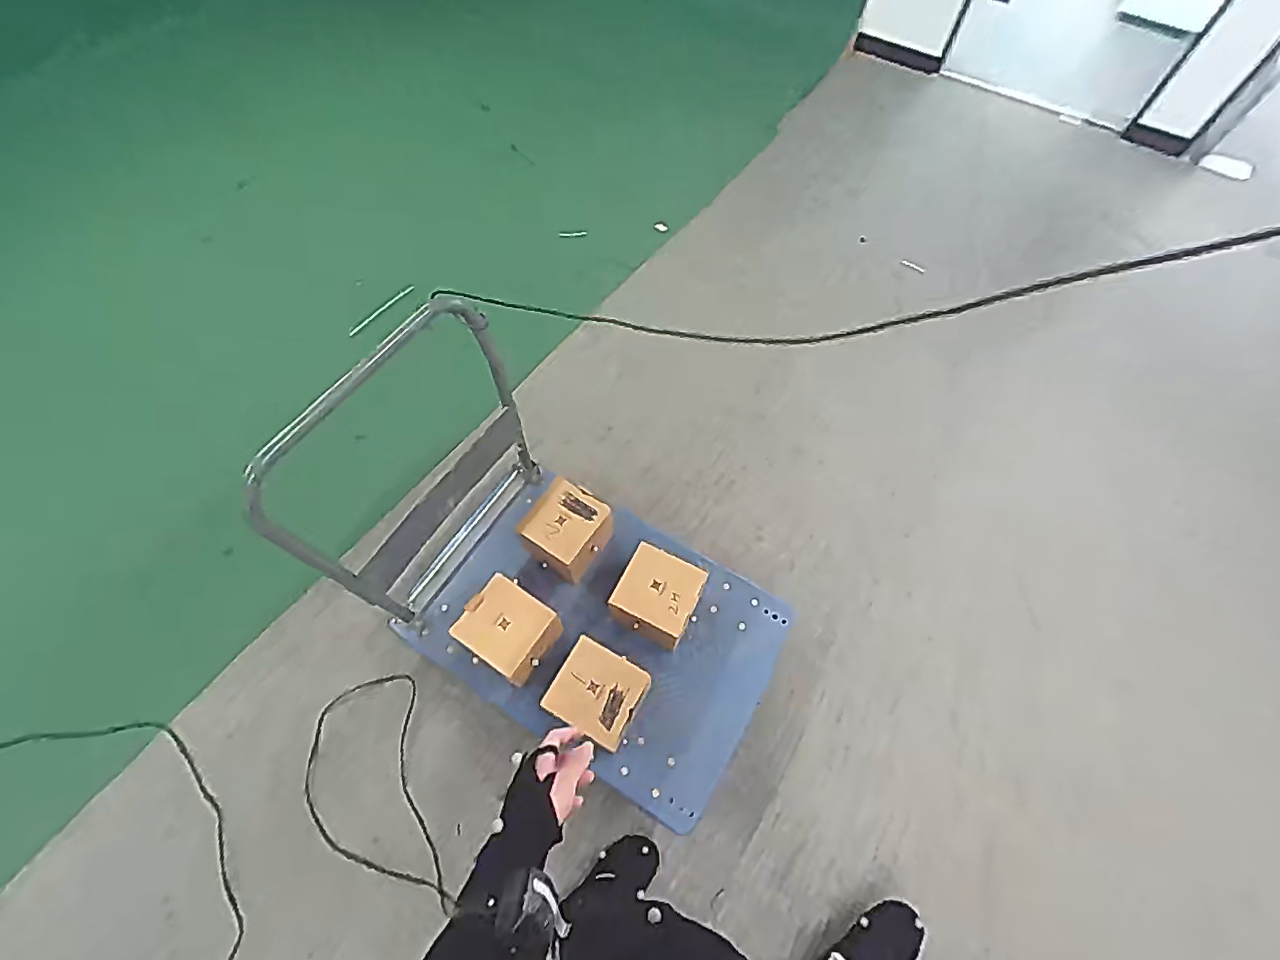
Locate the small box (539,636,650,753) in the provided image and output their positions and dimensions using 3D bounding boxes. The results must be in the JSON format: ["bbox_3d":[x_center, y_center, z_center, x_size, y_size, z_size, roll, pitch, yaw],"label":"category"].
[{"bbox_3d":[-0.092,0.470,1.179,0.179,0.176,0.168,28,65,14],"label":"small box"}]

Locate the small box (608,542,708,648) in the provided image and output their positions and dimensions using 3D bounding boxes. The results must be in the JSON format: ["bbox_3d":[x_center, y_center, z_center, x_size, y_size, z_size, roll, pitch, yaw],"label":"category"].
[{"bbox_3d":[0.042,0.279,1.281,0.179,0.176,0.168,26,65,12],"label":"small box"}]

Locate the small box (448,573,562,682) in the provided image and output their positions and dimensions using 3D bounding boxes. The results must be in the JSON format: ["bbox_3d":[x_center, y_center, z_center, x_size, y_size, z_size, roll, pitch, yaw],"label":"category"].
[{"bbox_3d":[-0.299,0.346,1.244,0.179,0.176,0.168,31,66,15],"label":"small box"}]
